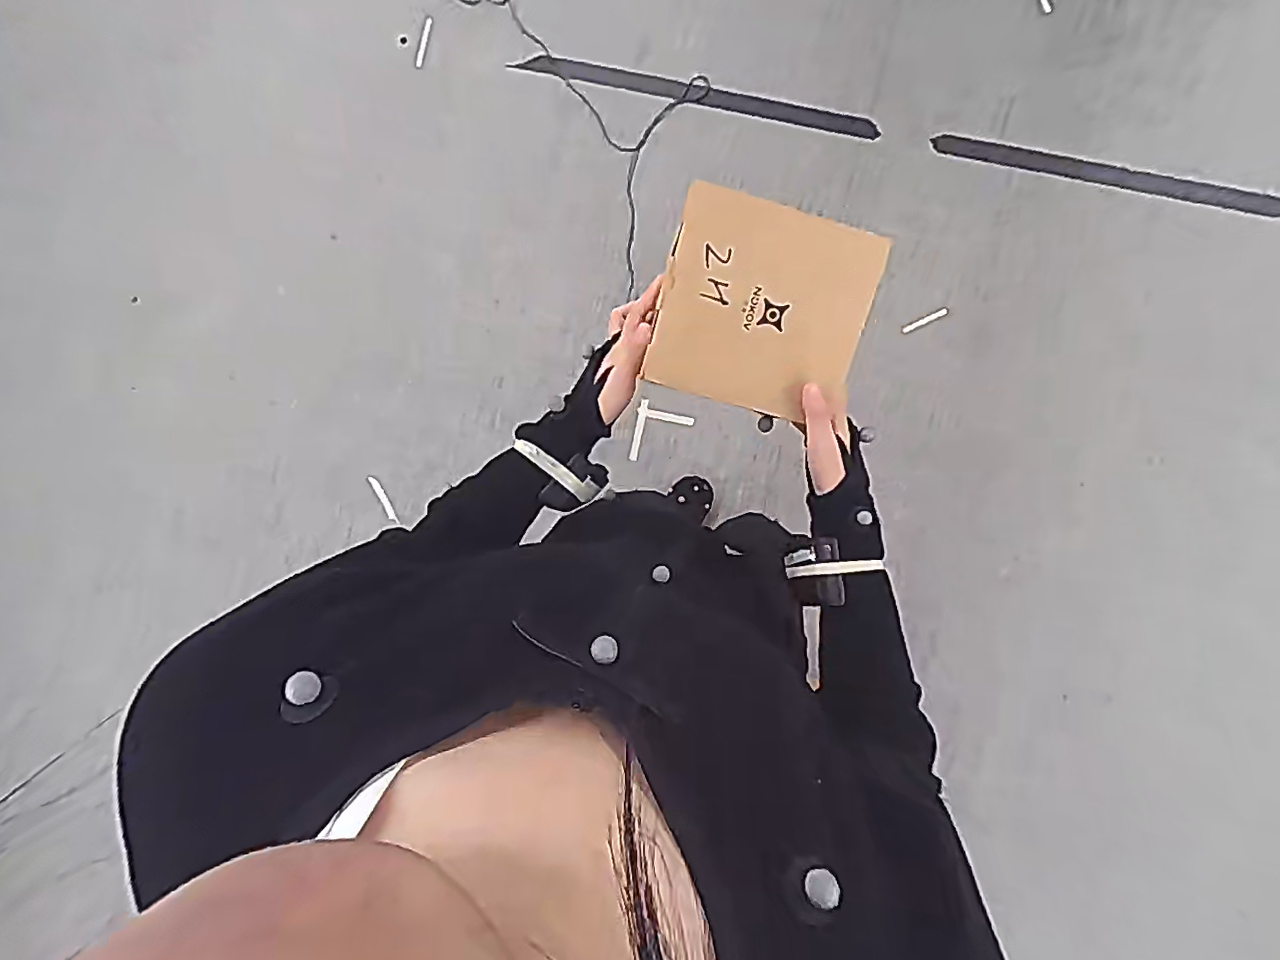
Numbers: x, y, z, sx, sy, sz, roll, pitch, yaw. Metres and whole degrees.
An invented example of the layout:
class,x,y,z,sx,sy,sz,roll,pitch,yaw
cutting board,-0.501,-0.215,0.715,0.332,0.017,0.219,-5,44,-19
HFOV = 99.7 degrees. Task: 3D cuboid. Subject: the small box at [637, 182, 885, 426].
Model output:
class,x,y,z,sx,sy,sz,roll,pitch,yaw
small box,0.101,-0.163,0.540,0.179,0.176,0.168,15,101,-4
